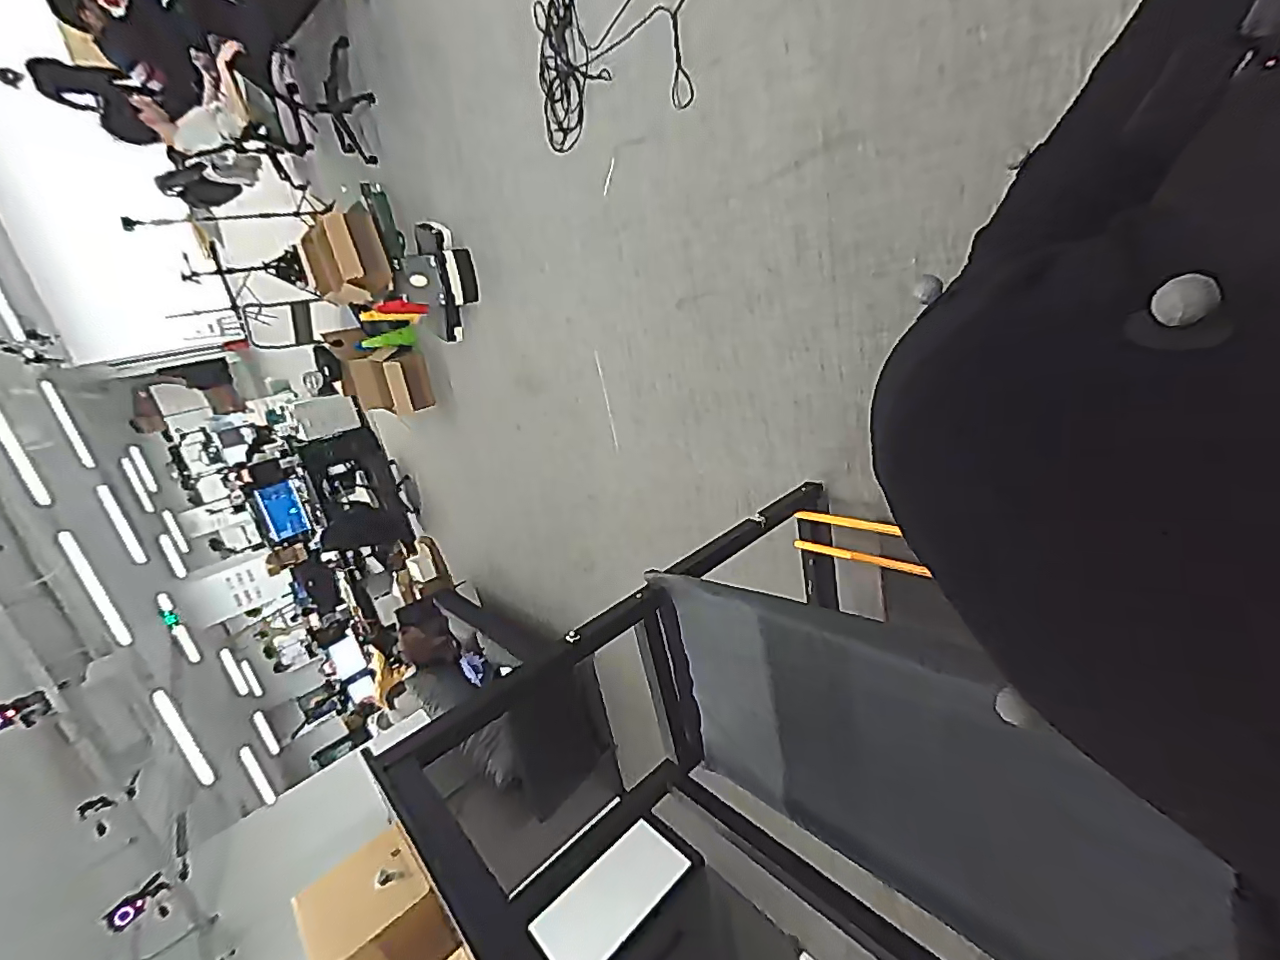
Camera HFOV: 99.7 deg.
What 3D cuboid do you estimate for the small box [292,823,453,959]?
[{"bbox_3d":[-0.422,0.712,0.869,0.168,0.176,0.179,16,121,46],"label":"small box"}]
